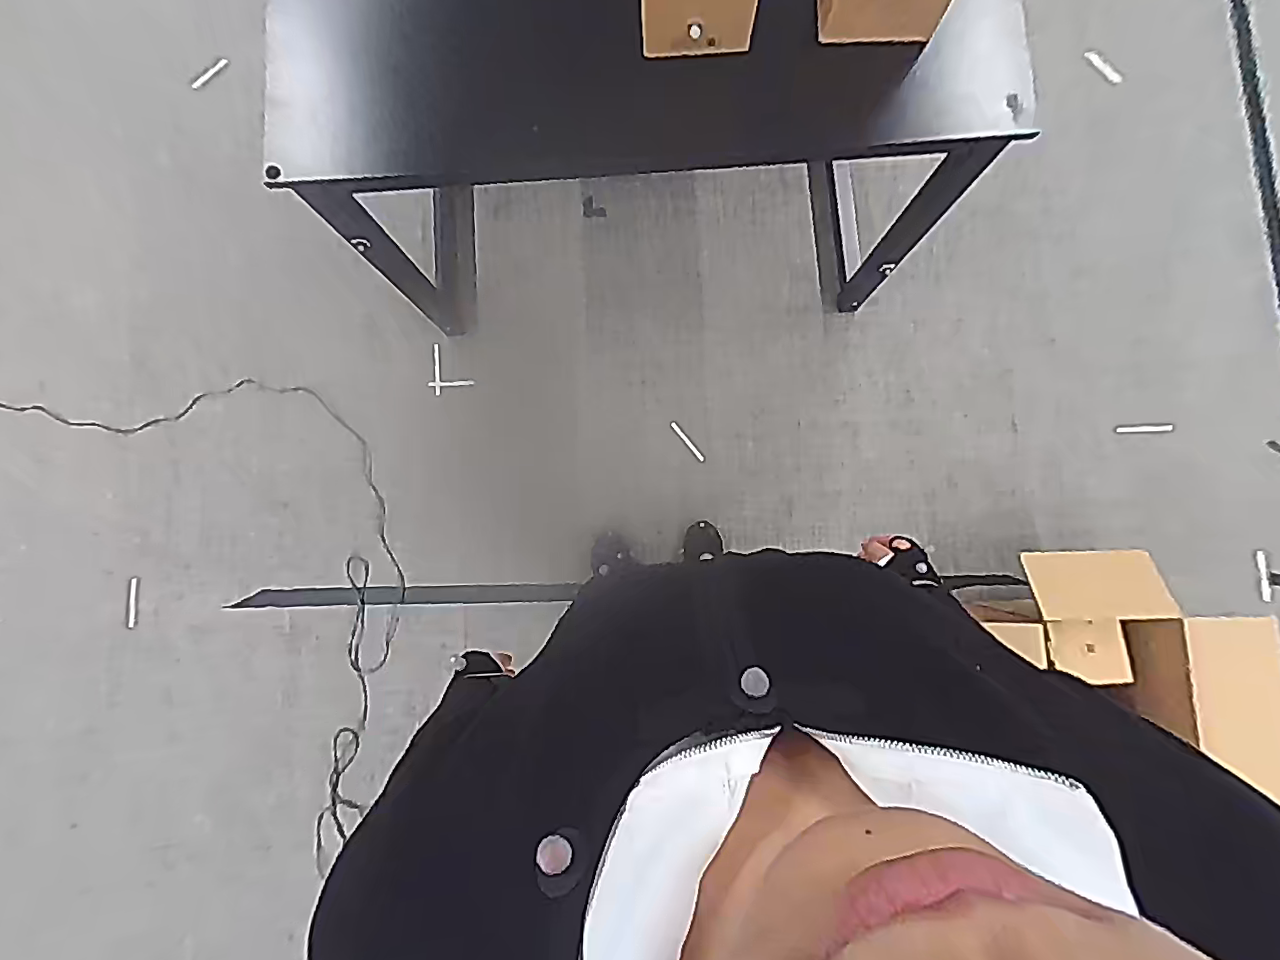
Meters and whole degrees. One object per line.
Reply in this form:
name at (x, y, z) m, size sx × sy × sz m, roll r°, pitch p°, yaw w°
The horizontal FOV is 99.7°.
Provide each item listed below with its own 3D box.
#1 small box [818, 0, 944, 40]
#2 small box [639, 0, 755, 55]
small box at (0.361, -0.775, 0.774) m, size 0.179 × 0.176 × 0.168 m, roll 0°, pitch 85°, yaw 2°
small box at (0.080, -0.765, 0.779) m, size 0.168 × 0.176 × 0.179 m, roll -3°, pitch 85°, yaw 1°
